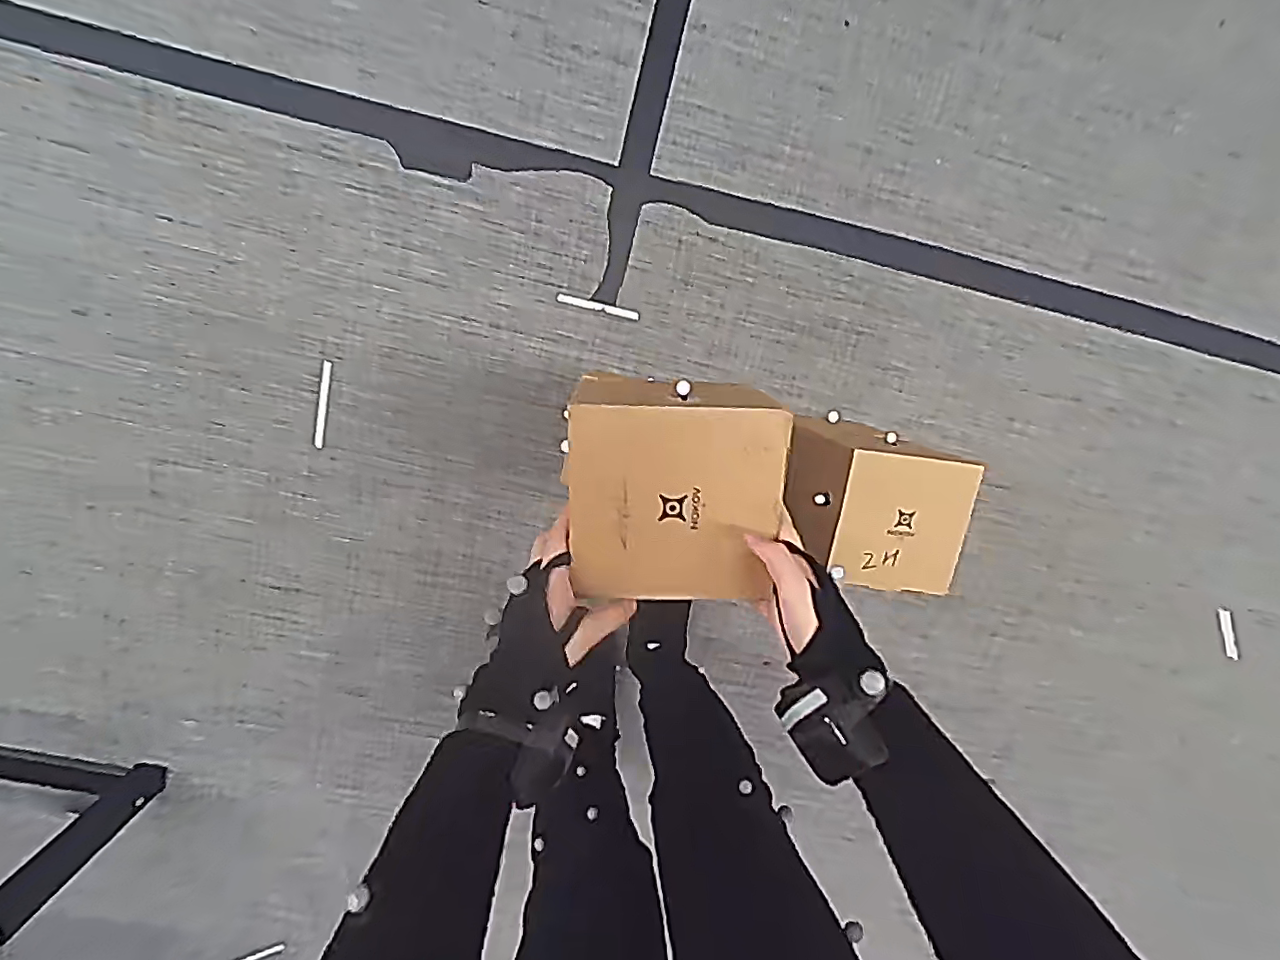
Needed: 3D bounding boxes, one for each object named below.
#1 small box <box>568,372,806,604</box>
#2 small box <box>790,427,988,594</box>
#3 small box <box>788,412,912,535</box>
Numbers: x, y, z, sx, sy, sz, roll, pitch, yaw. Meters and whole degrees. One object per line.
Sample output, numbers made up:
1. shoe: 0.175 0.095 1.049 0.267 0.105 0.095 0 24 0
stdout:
1. small box: 0.028 -0.004 0.488 0.179 0.176 0.168 1 108 -3
2. small box: 0.316 0.031 0.728 0.168 0.176 0.179 7 104 -4
3. small box: 0.308 -0.011 0.888 0.168 0.176 0.179 6 104 -4
